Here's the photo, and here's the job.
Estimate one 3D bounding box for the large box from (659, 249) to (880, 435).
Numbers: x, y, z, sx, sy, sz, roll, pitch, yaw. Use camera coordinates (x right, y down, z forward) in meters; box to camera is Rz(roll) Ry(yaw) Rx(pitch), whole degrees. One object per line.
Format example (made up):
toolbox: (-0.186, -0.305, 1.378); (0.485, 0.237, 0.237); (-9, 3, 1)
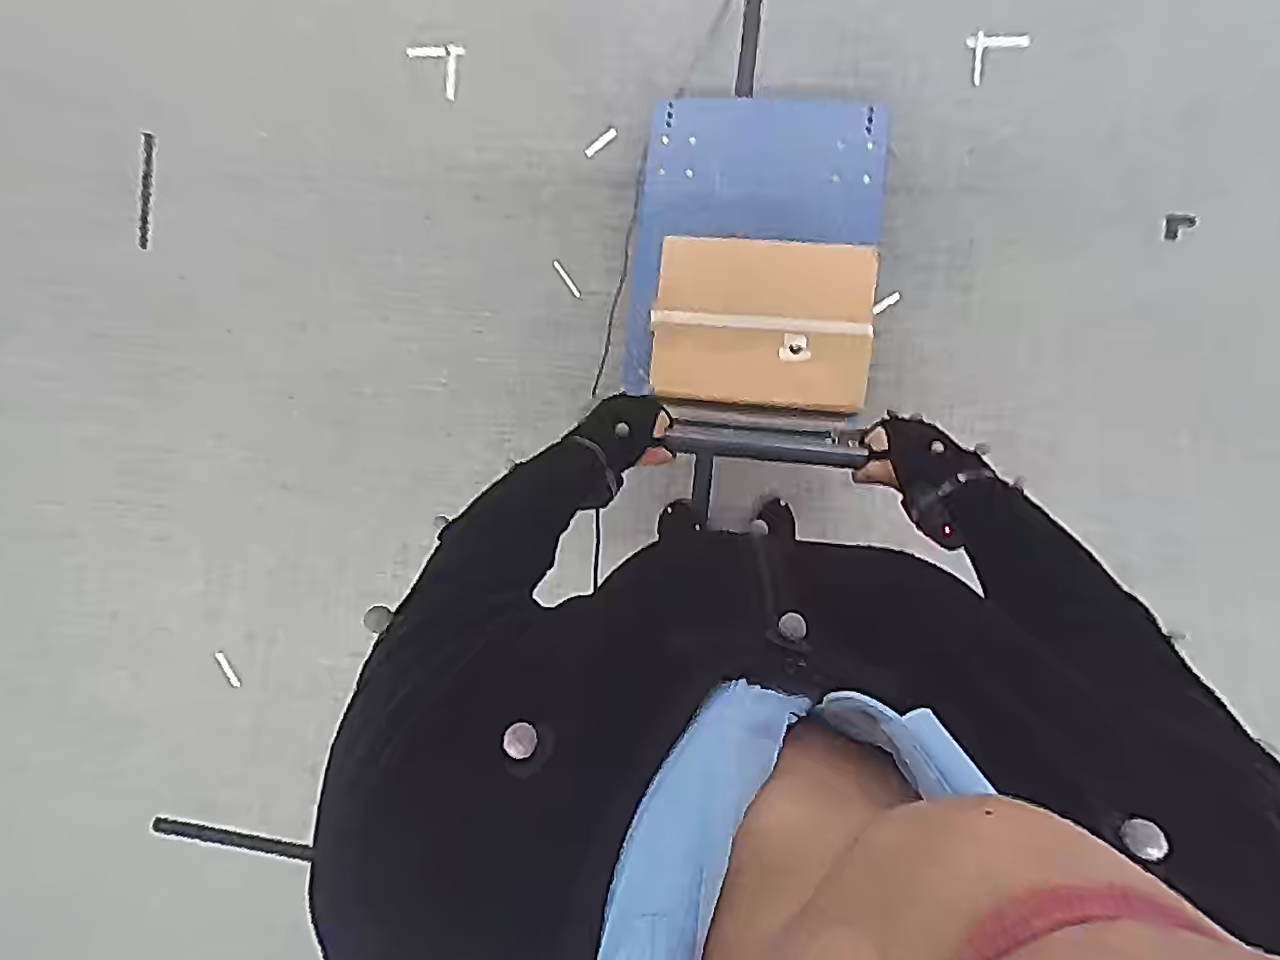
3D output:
large box: (0.260, -0.282, 1.191); (0.408, 0.320, 0.320); (6, 90, 6)
